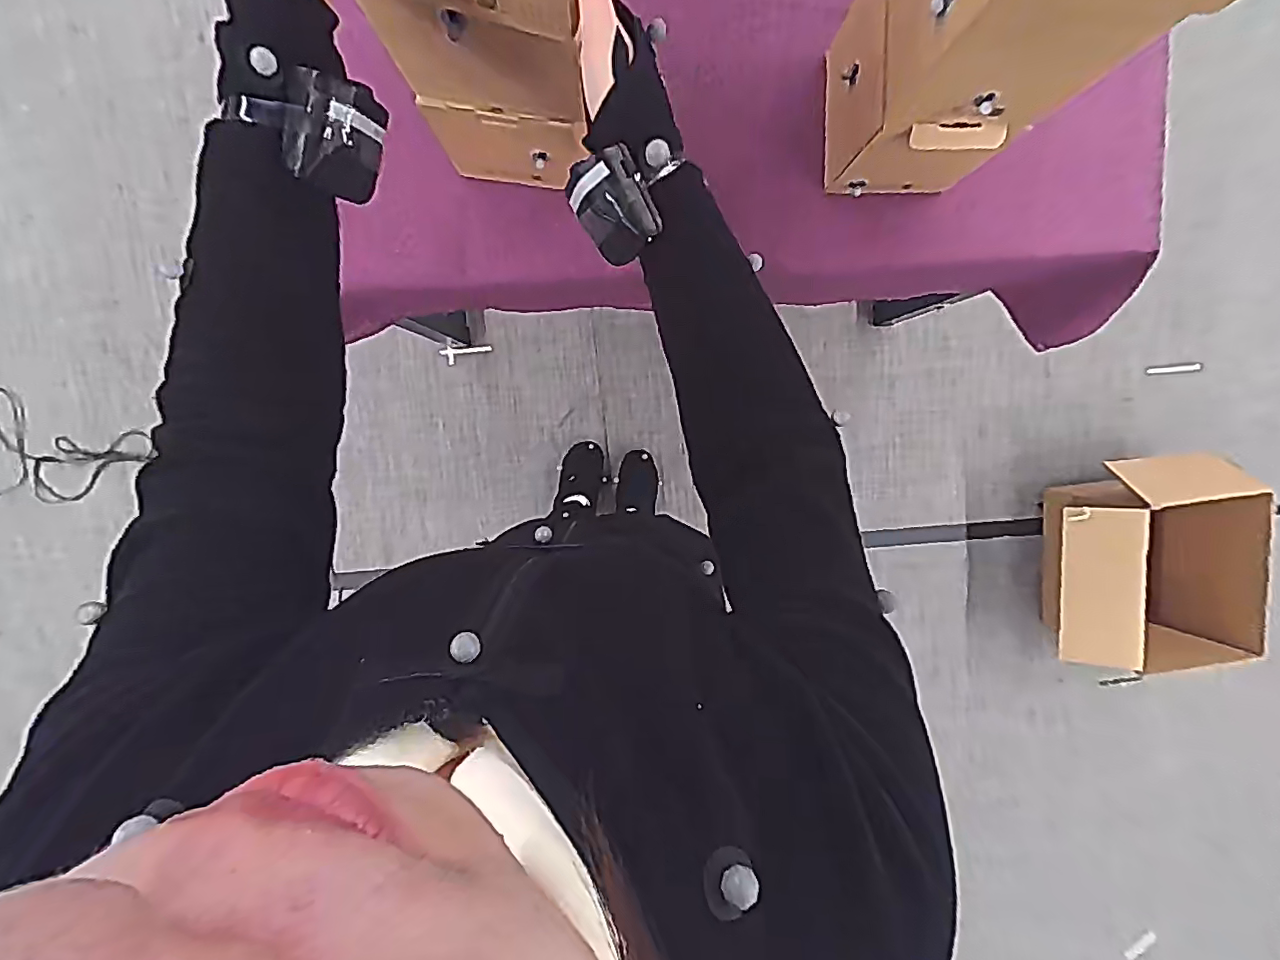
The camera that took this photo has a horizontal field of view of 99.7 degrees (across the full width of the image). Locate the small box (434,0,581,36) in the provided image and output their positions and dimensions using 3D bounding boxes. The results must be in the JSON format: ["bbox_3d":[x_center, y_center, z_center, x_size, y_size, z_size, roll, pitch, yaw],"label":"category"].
[{"bbox_3d":[-0.102,-0.411,0.297,0.168,0.176,0.179,13,95,-4],"label":"small box"}]

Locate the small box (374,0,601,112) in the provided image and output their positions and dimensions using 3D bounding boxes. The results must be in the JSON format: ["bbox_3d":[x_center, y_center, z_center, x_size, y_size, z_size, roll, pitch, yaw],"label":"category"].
[{"bbox_3d":[-0.126,-0.450,0.457,0.179,0.176,0.168,8,97,-4],"label":"small box"}]

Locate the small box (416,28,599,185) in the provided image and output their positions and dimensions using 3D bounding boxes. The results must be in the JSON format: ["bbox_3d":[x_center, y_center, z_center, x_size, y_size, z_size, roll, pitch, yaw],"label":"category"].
[{"bbox_3d":[-0.138,-0.467,0.619,0.168,0.176,0.179,7,96,-4],"label":"small box"}]

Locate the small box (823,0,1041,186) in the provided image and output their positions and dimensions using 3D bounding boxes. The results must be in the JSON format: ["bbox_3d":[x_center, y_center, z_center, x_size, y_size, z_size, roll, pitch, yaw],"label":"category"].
[{"bbox_3d":[0.326,-0.466,0.634,0.168,0.176,0.179,-1,96,-2],"label":"small box"}]
